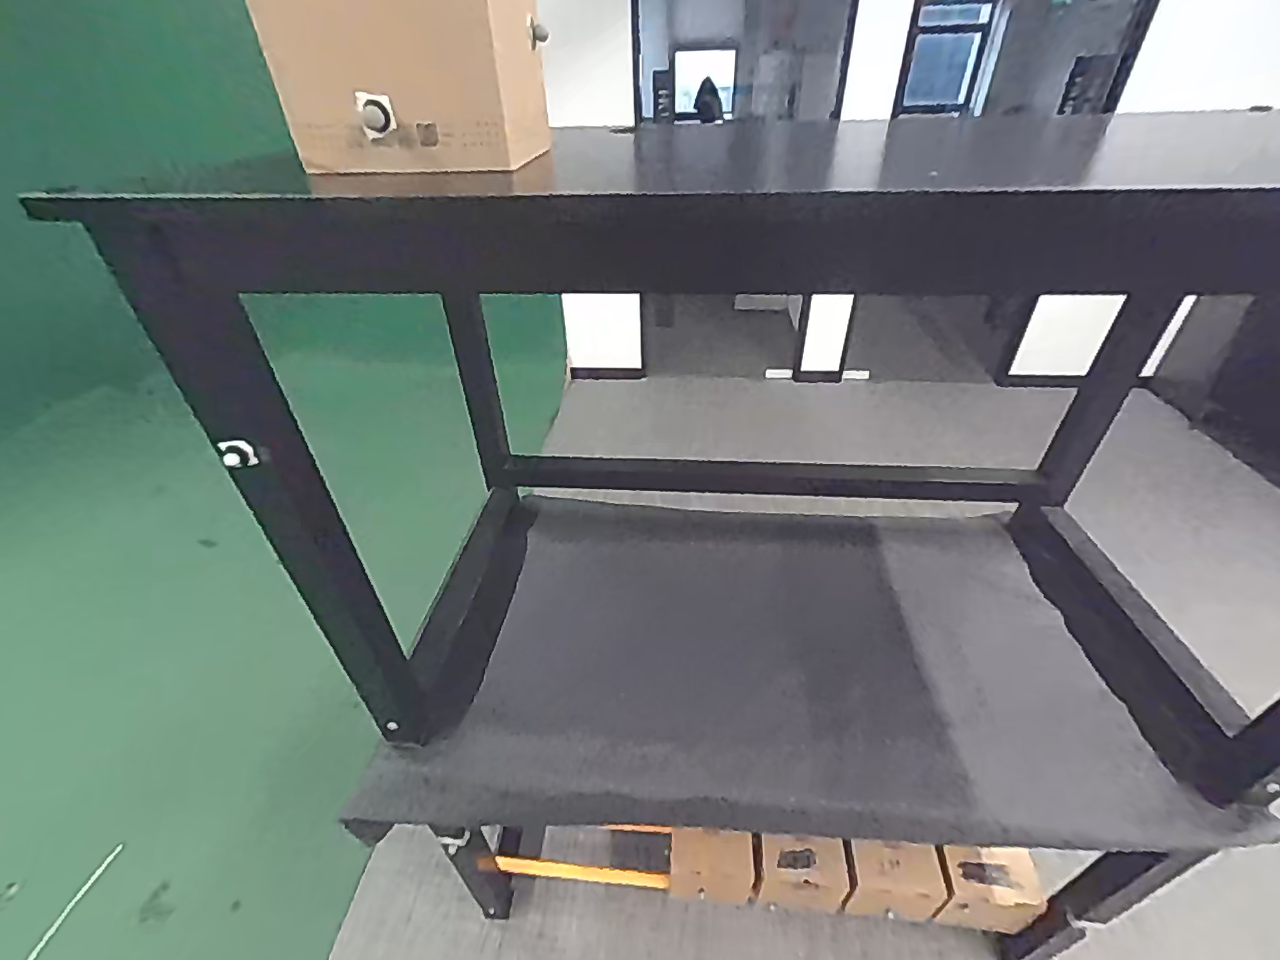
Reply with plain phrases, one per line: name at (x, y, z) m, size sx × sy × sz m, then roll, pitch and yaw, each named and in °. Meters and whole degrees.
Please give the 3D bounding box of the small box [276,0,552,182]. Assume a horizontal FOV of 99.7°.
small box at (-0.172, -0.353, 0.448) m, size 0.168 × 0.176 × 0.179 m, roll -1°, pitch 36°, yaw 2°
